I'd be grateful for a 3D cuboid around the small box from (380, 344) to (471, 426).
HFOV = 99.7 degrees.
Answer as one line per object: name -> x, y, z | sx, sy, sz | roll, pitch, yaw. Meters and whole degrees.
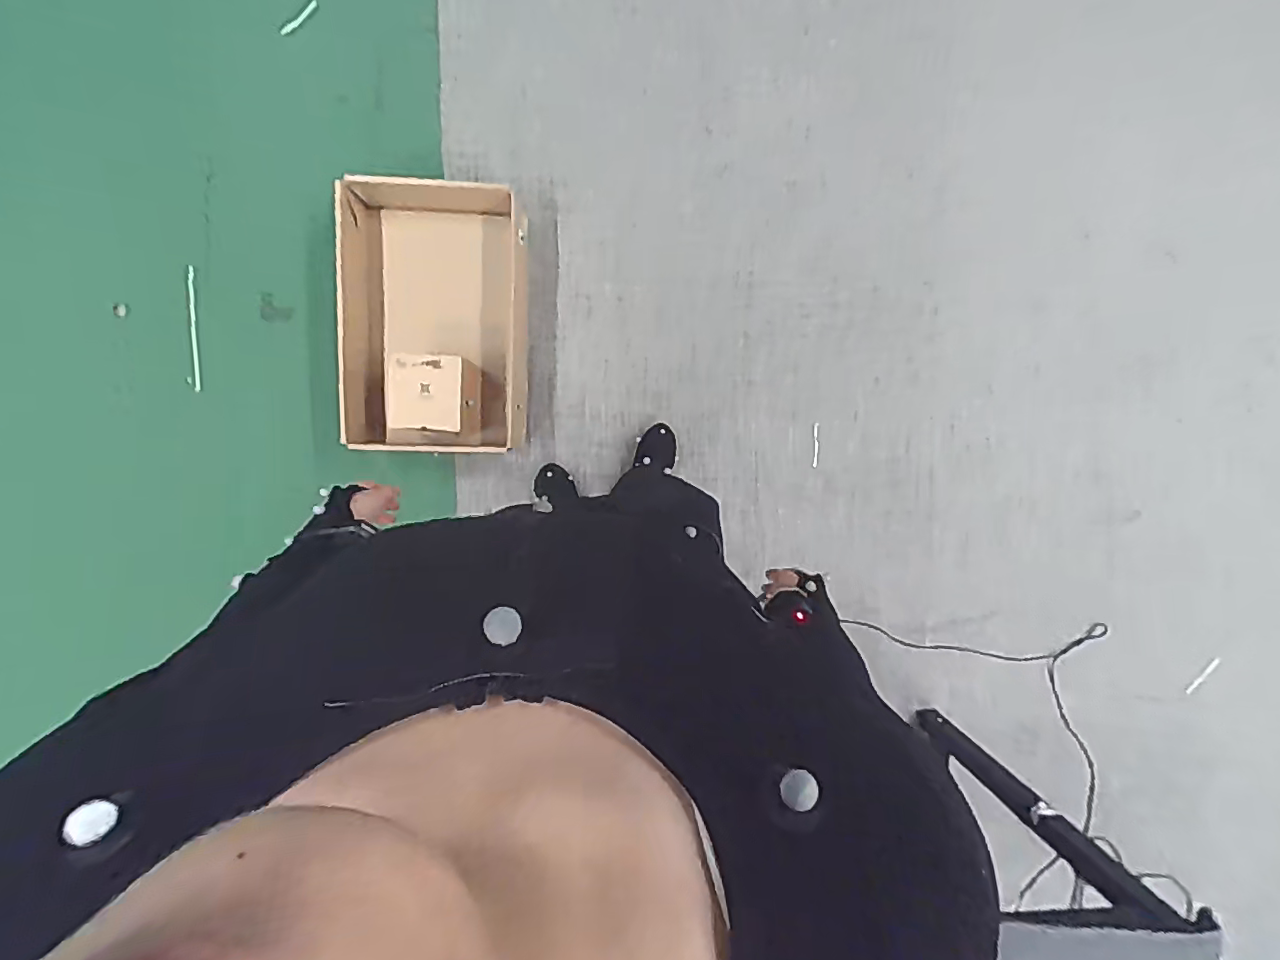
small box -> -0.508, -0.221, 1.296 | 0.168, 0.176, 0.179 | 2, 95, -5
